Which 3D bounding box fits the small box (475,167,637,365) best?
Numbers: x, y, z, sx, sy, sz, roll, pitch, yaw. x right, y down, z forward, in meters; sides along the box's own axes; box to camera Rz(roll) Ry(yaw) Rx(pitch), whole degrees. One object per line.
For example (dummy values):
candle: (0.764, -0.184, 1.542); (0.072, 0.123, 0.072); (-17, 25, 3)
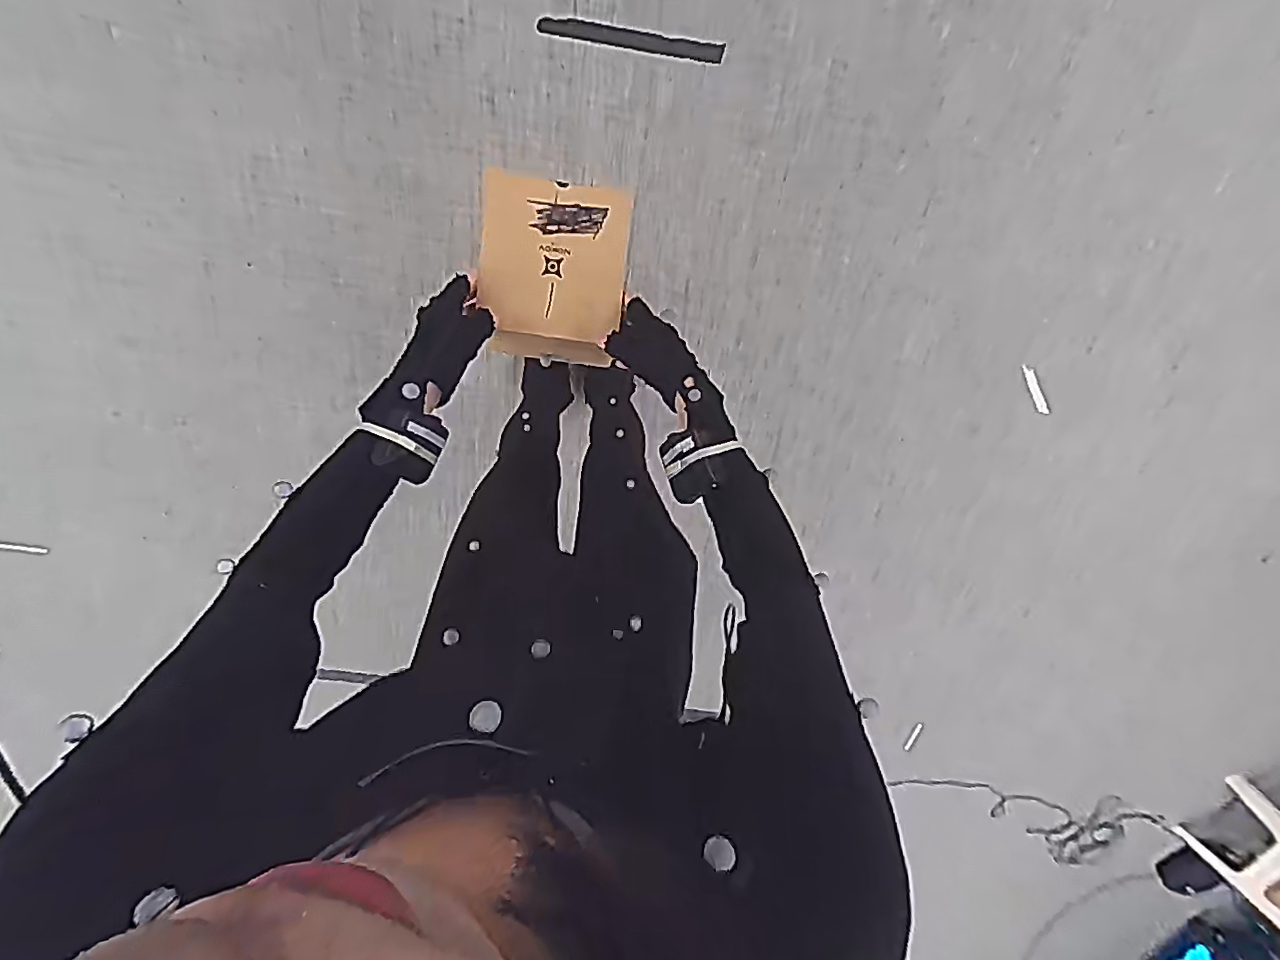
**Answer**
small box: (-0.104, -0.257, 0.692); (0.168, 0.176, 0.179); (7, 92, -7)
